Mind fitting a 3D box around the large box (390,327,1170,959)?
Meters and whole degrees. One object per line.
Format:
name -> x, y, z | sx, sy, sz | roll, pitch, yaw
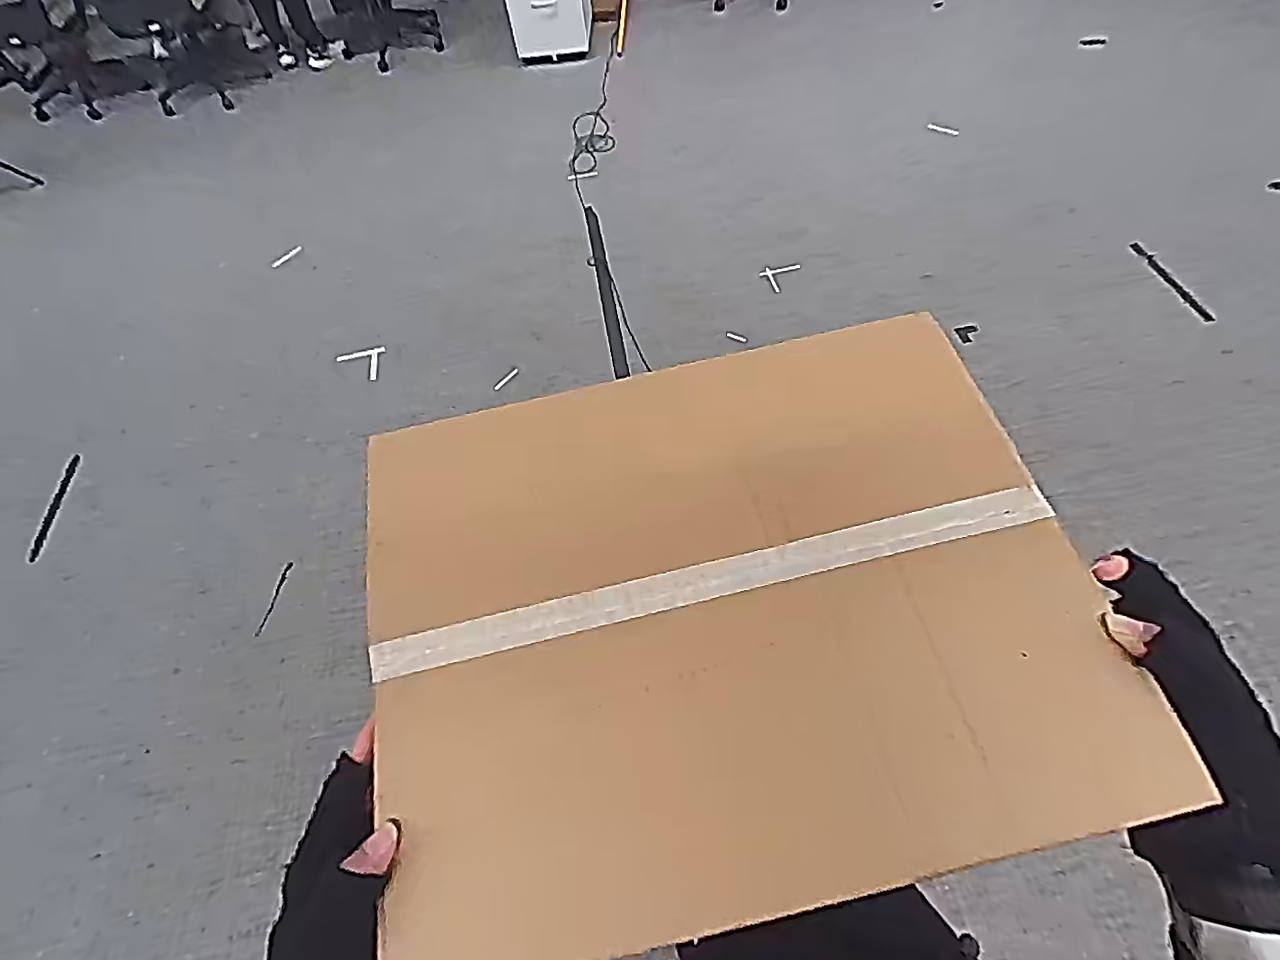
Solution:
large box -> 0.056, 0.130, 0.465 | 0.408, 0.320, 0.320 | -14, 65, -2
